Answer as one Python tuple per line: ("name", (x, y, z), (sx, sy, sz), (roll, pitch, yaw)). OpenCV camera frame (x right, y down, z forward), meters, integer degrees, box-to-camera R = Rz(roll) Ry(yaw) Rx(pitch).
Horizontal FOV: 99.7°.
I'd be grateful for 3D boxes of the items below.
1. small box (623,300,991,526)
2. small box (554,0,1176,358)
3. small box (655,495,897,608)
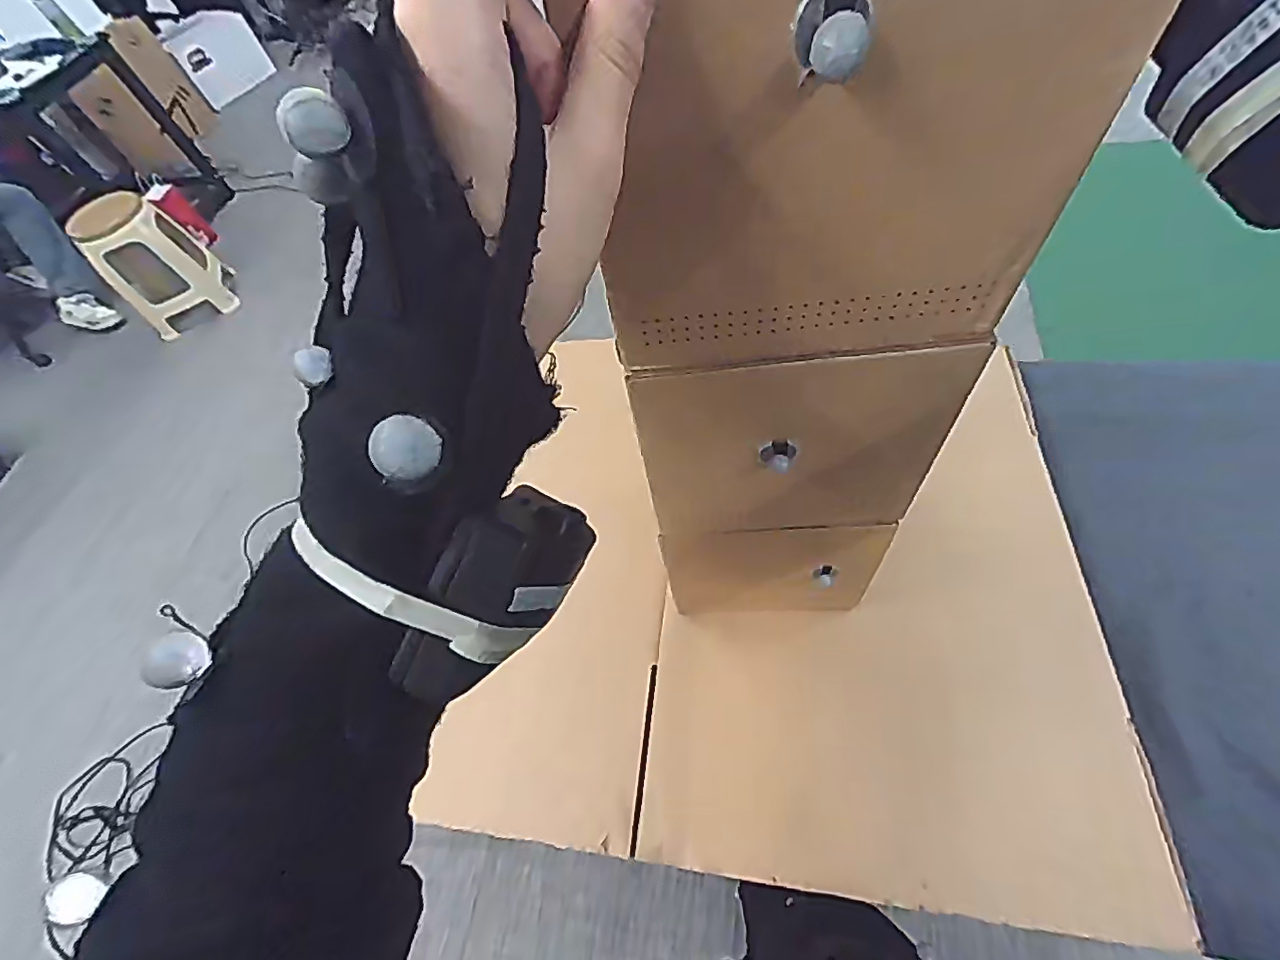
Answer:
("small box", (0.088, -0.081, 0.366), (0.179, 0.176, 0.168), (-5, 56, 7))
("small box", (0.069, -0.173, 0.230), (0.179, 0.176, 0.168), (-5, 58, 6))
("small box", (0.109, 0.011, 0.501), (0.179, 0.176, 0.168), (-4, 56, 8))
